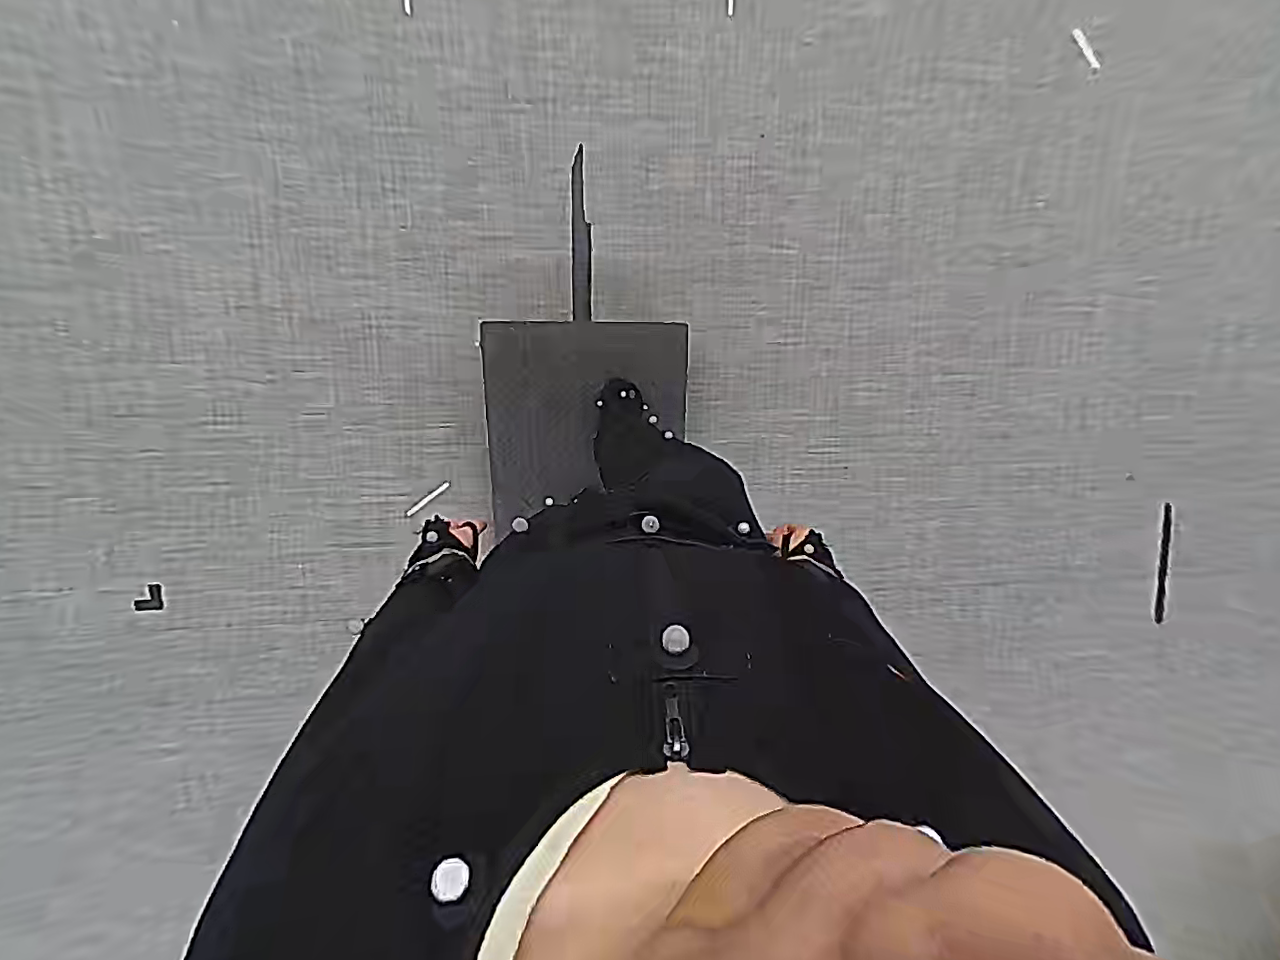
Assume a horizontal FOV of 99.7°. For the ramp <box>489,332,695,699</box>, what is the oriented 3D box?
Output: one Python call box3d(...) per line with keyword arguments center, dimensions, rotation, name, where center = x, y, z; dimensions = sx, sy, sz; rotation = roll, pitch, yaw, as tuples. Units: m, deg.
box3d(center=(-0.105, 0.130, 1.413), dimensions=(0.509, 0.206, 0.991), rotation=(-4, 97, -7), name="ramp")
